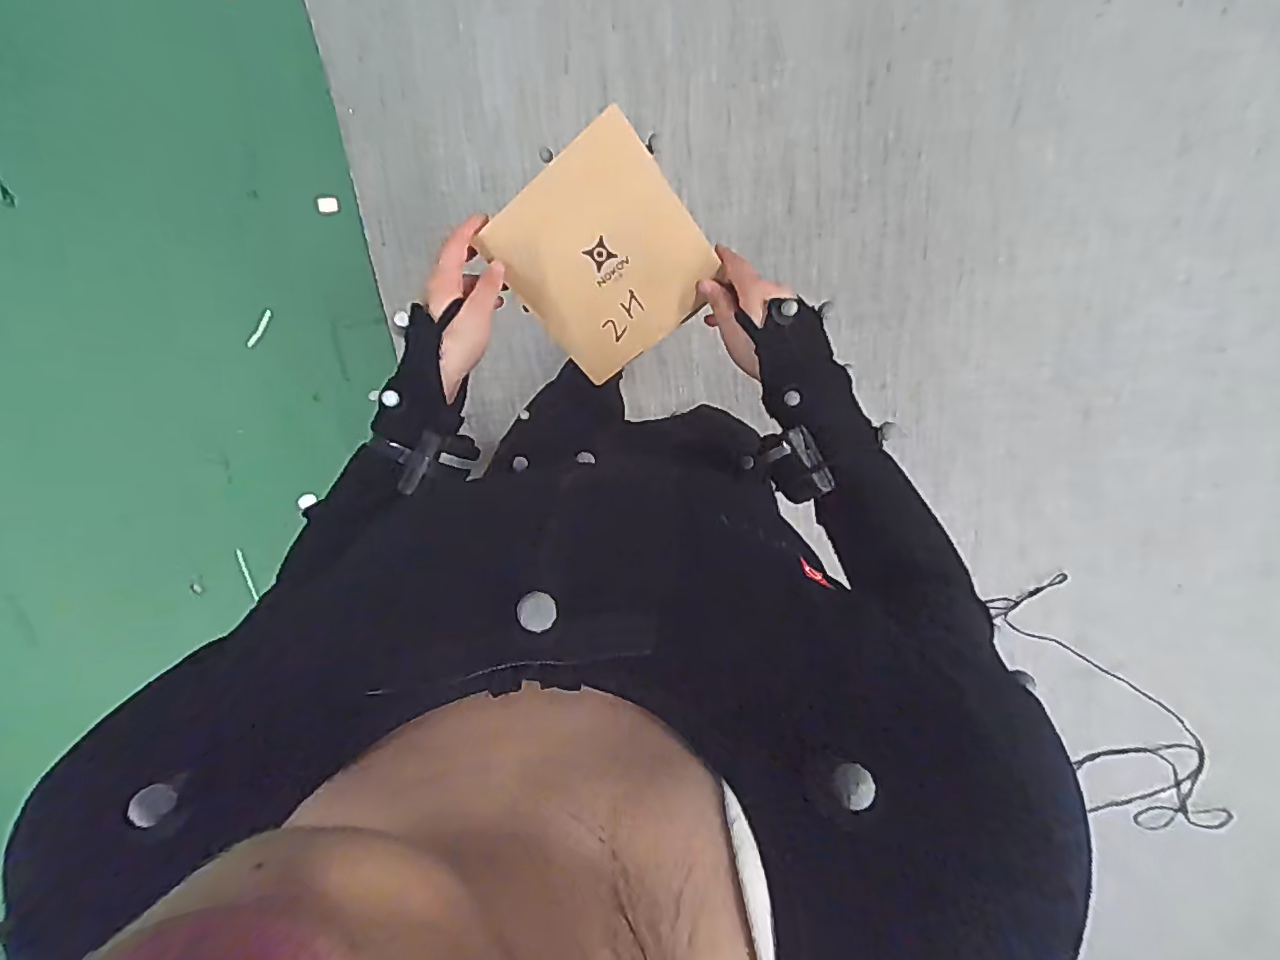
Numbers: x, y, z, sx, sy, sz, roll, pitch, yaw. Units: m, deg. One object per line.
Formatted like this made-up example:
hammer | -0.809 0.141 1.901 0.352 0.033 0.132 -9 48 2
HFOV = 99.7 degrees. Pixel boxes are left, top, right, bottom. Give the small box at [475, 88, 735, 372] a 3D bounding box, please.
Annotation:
small box | -0.031 -0.246 0.544 0.168 0.176 0.179 -33 119 19

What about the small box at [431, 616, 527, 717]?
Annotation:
small box | -0.392 0.461 1.360 0.179 0.176 0.168 -9 109 4
